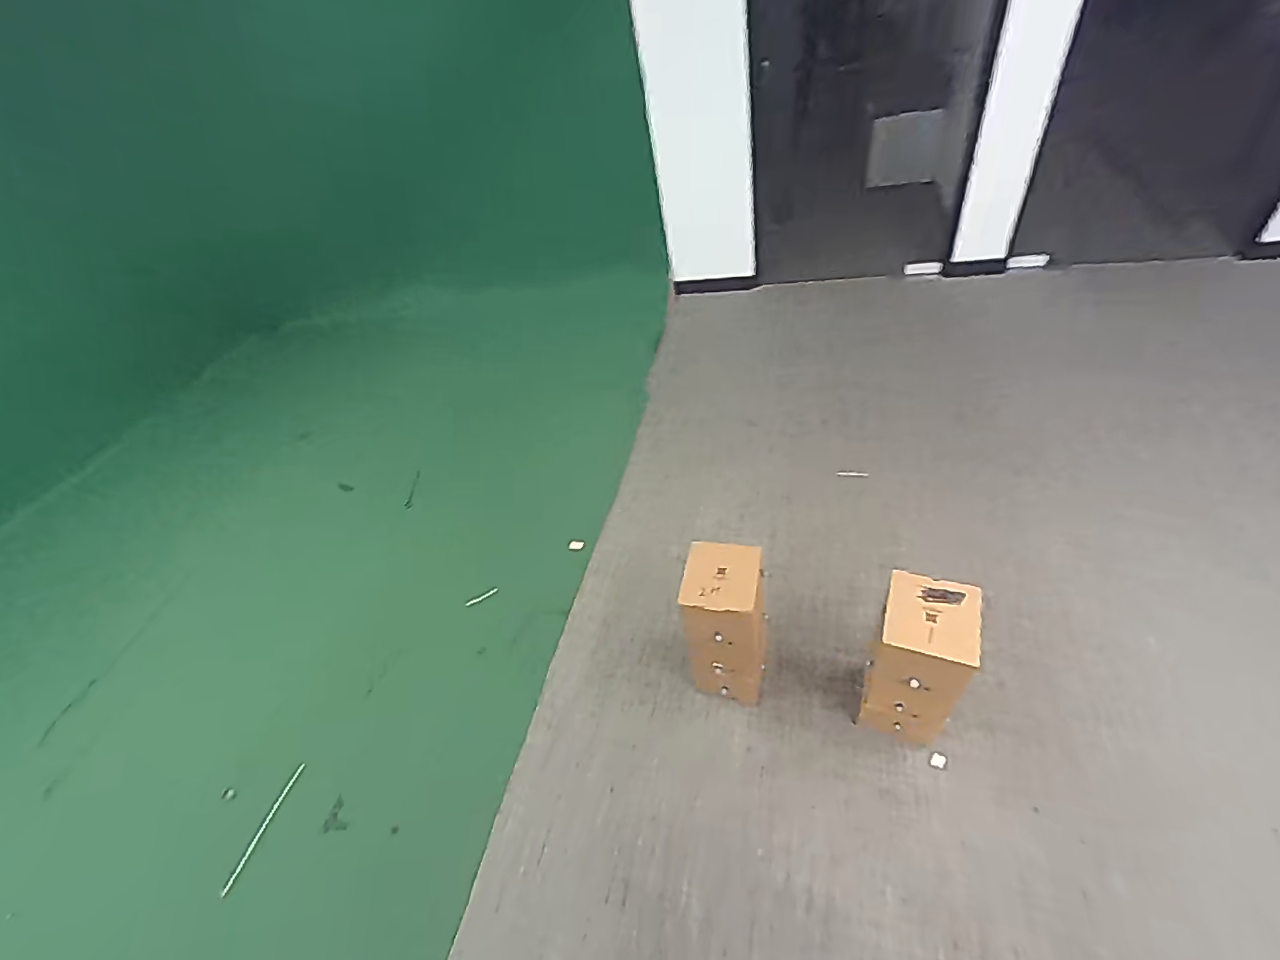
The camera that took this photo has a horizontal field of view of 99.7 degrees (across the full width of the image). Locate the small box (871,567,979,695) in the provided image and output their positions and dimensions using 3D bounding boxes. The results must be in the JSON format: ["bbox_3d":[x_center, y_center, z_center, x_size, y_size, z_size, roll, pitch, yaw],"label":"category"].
[{"bbox_3d":[0.583,0.312,1.116,0.168,0.176,0.179,11,53,23],"label":"small box"}]

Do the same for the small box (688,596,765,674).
[{"bbox_3d":[0.227,0.369,1.384,0.168,0.176,0.179,3,49,19],"label":"small box"}]

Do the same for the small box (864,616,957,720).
[{"bbox_3d":[0.617,0.416,1.239,0.168,0.176,0.179,9,51,22],"label":"small box"}]

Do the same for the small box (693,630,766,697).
[{"bbox_3d":[0.255,0.478,1.502,0.168,0.176,0.179,6,50,20],"label":"small box"}]

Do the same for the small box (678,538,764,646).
[{"bbox_3d":[0.197,0.261,1.263,0.168,0.176,0.179,3,48,19],"label":"small box"}]
